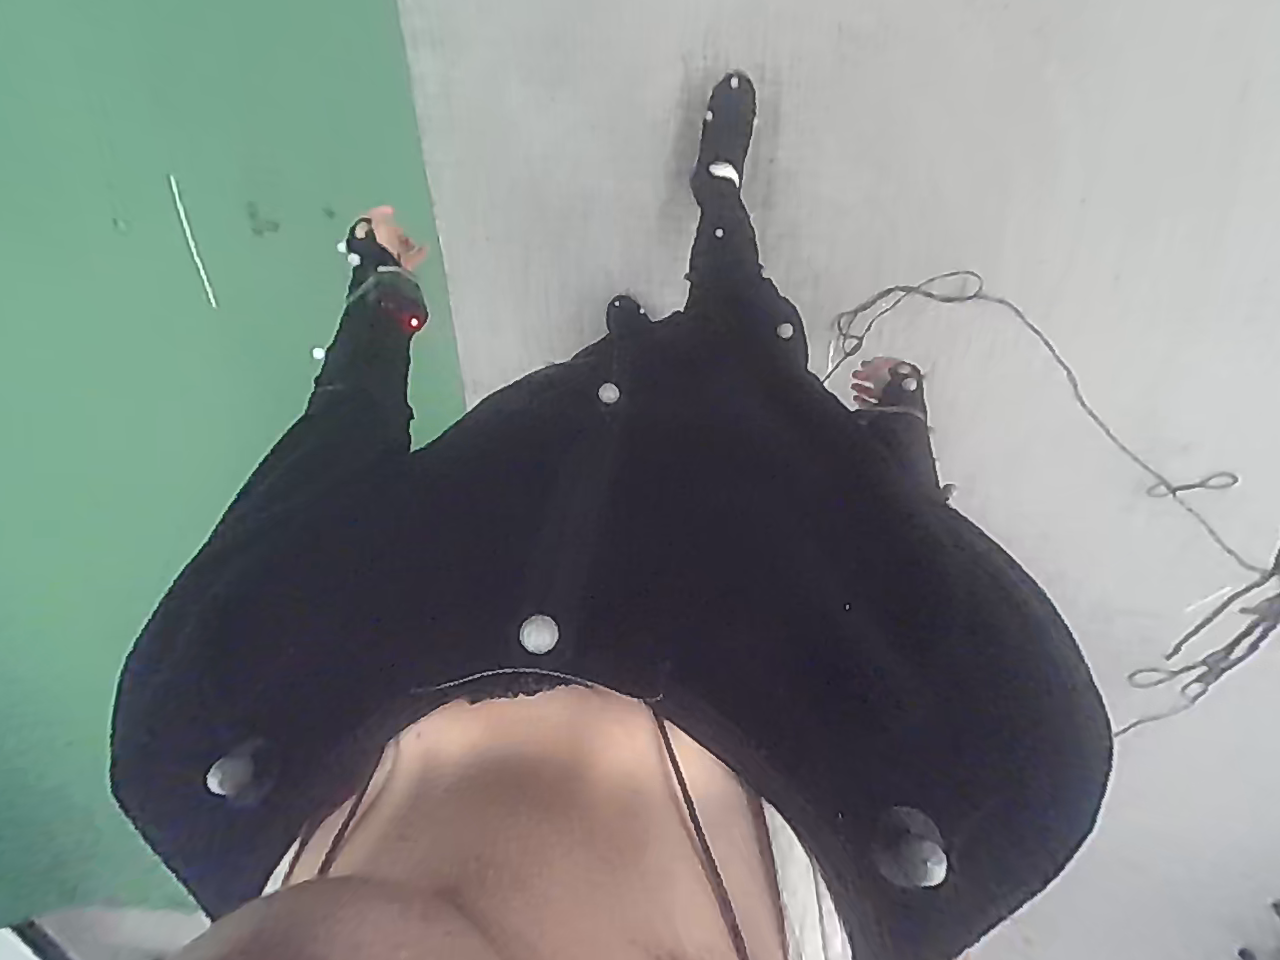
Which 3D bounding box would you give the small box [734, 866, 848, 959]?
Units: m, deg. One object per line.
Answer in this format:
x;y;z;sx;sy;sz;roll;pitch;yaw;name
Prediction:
0.302;0.945;1.124;0.168;0.176;0.179;13;117;-3;small box
